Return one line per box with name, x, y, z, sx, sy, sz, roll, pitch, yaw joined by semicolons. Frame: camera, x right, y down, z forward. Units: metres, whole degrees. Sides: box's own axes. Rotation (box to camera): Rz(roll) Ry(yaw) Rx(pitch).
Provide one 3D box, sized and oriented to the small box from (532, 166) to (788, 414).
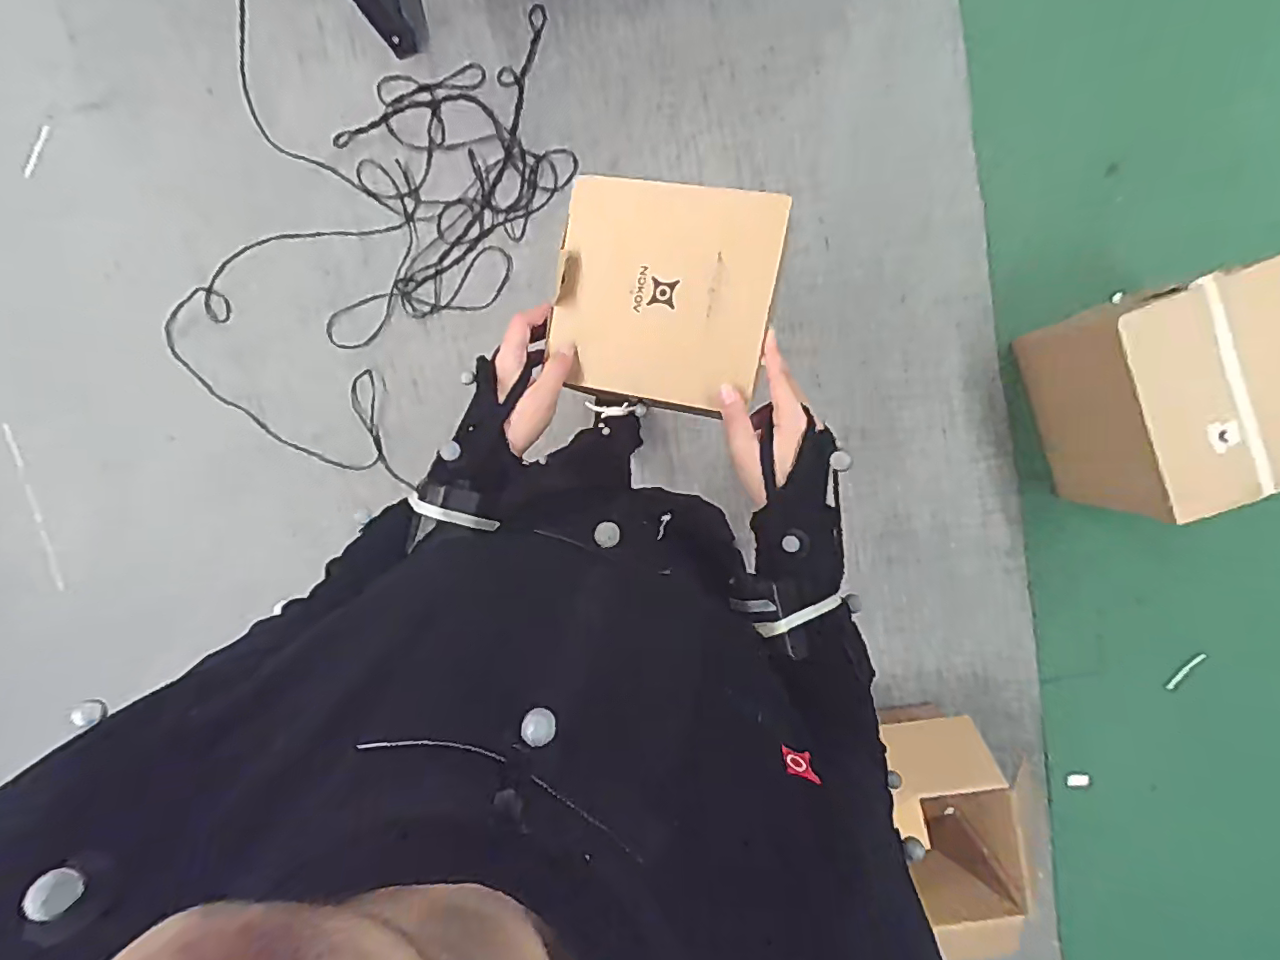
small box;0.025;-0.155;0.493;0.179;0.176;0.168;11;97;10
